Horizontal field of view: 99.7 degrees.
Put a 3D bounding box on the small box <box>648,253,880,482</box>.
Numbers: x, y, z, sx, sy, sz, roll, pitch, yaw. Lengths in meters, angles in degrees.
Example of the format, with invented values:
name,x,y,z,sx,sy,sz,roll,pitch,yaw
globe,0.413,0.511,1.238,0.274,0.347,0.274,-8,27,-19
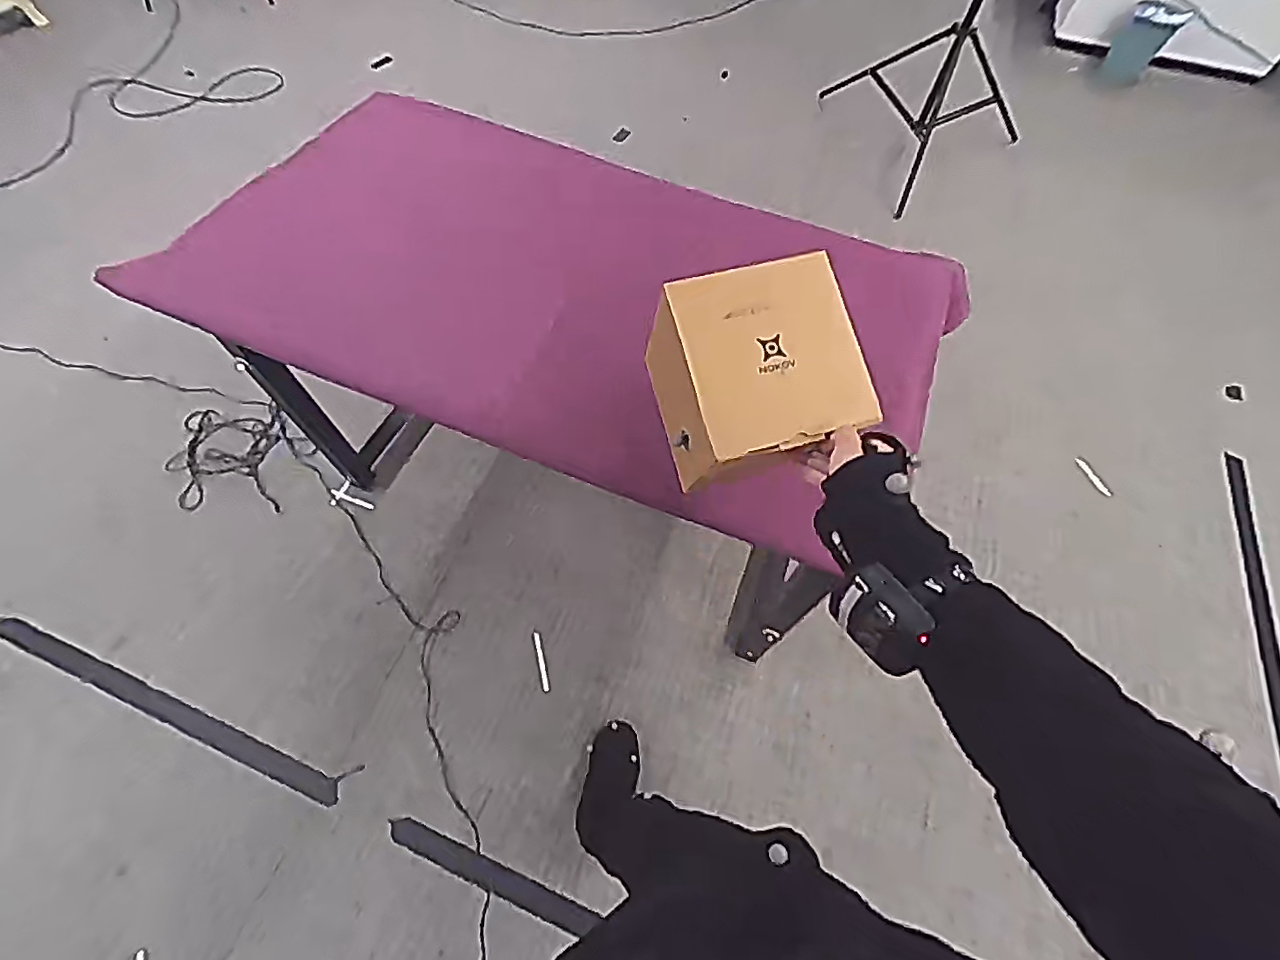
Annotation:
name,x,y,z,sx,sy,sz,roll,pitch,yaw
small box,0.114,-0.103,0.572,0.168,0.176,0.179,-14,80,-9
